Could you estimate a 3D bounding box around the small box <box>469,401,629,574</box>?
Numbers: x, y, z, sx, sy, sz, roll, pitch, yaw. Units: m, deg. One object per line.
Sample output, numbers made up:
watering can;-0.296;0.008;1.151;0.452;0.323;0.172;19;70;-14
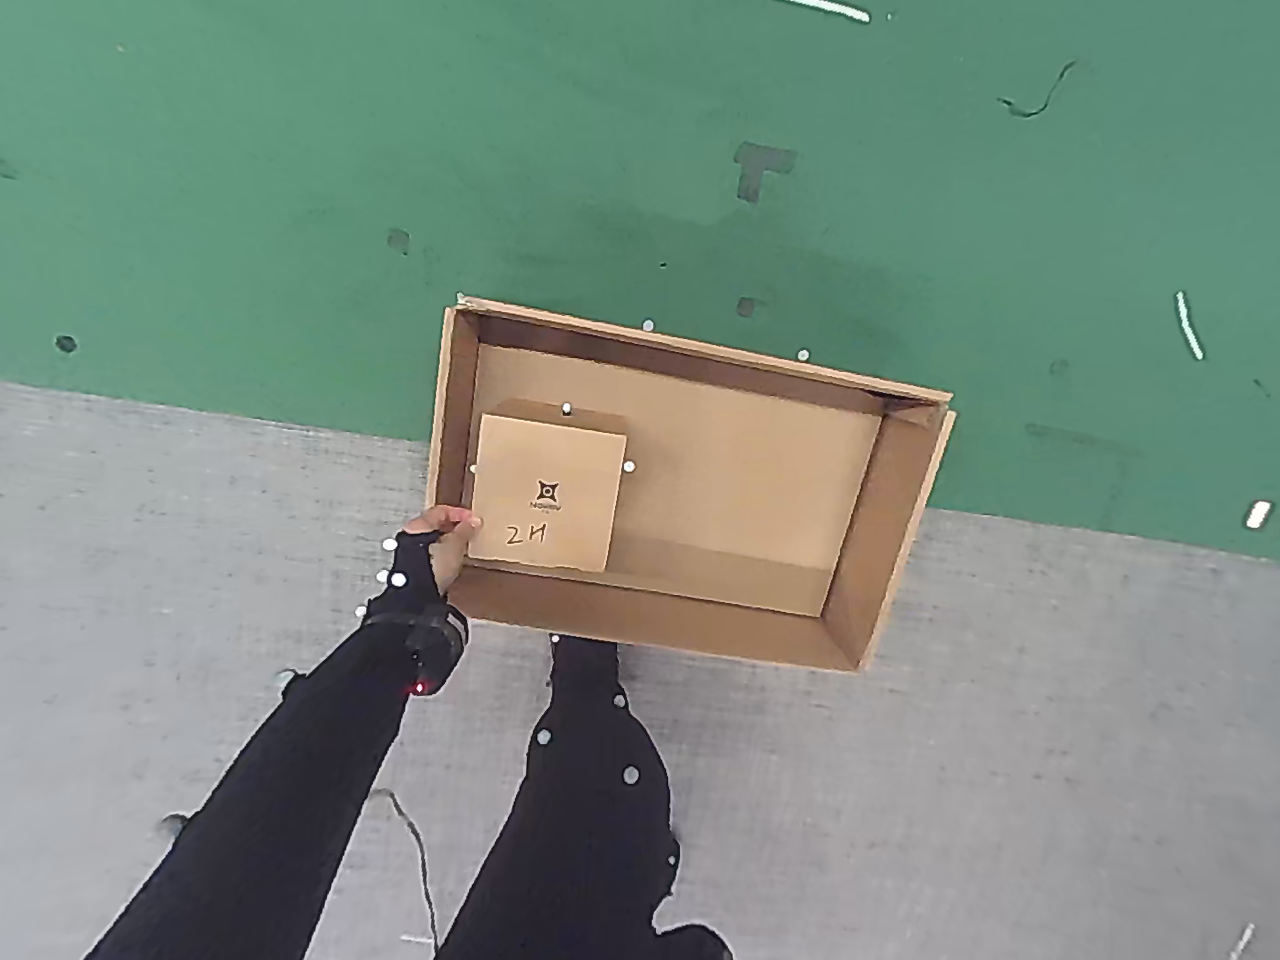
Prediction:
small box;-0.112;-0.001;0.700;0.168;0.176;0.179;9;104;-5
